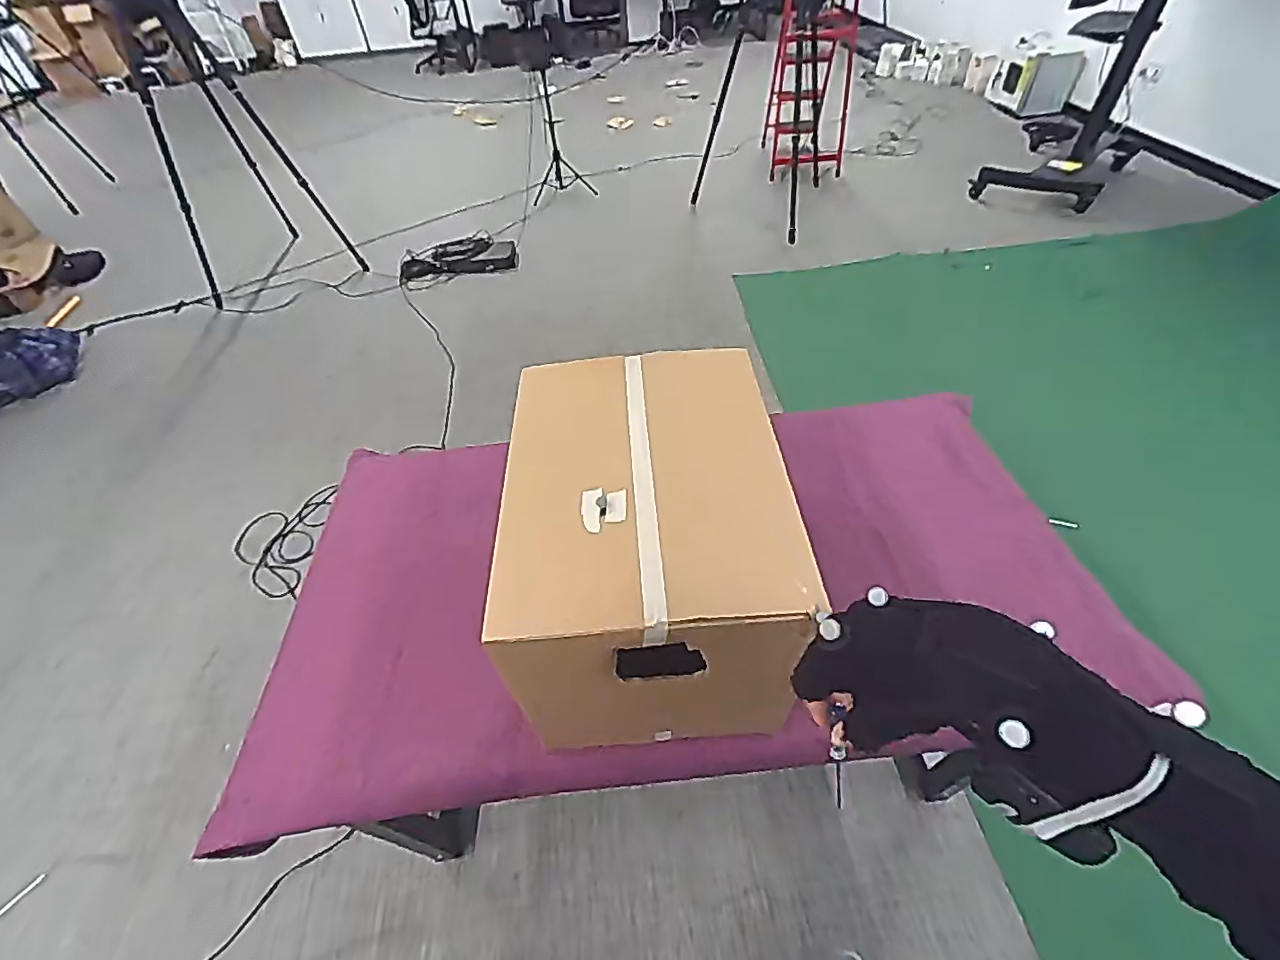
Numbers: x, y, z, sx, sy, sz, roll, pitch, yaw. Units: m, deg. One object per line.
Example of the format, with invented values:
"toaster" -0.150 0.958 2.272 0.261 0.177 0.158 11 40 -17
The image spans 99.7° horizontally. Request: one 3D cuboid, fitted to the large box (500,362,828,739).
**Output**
"large box" 0.015 0.089 0.737 0.320 0.320 0.408 -5 49 1
